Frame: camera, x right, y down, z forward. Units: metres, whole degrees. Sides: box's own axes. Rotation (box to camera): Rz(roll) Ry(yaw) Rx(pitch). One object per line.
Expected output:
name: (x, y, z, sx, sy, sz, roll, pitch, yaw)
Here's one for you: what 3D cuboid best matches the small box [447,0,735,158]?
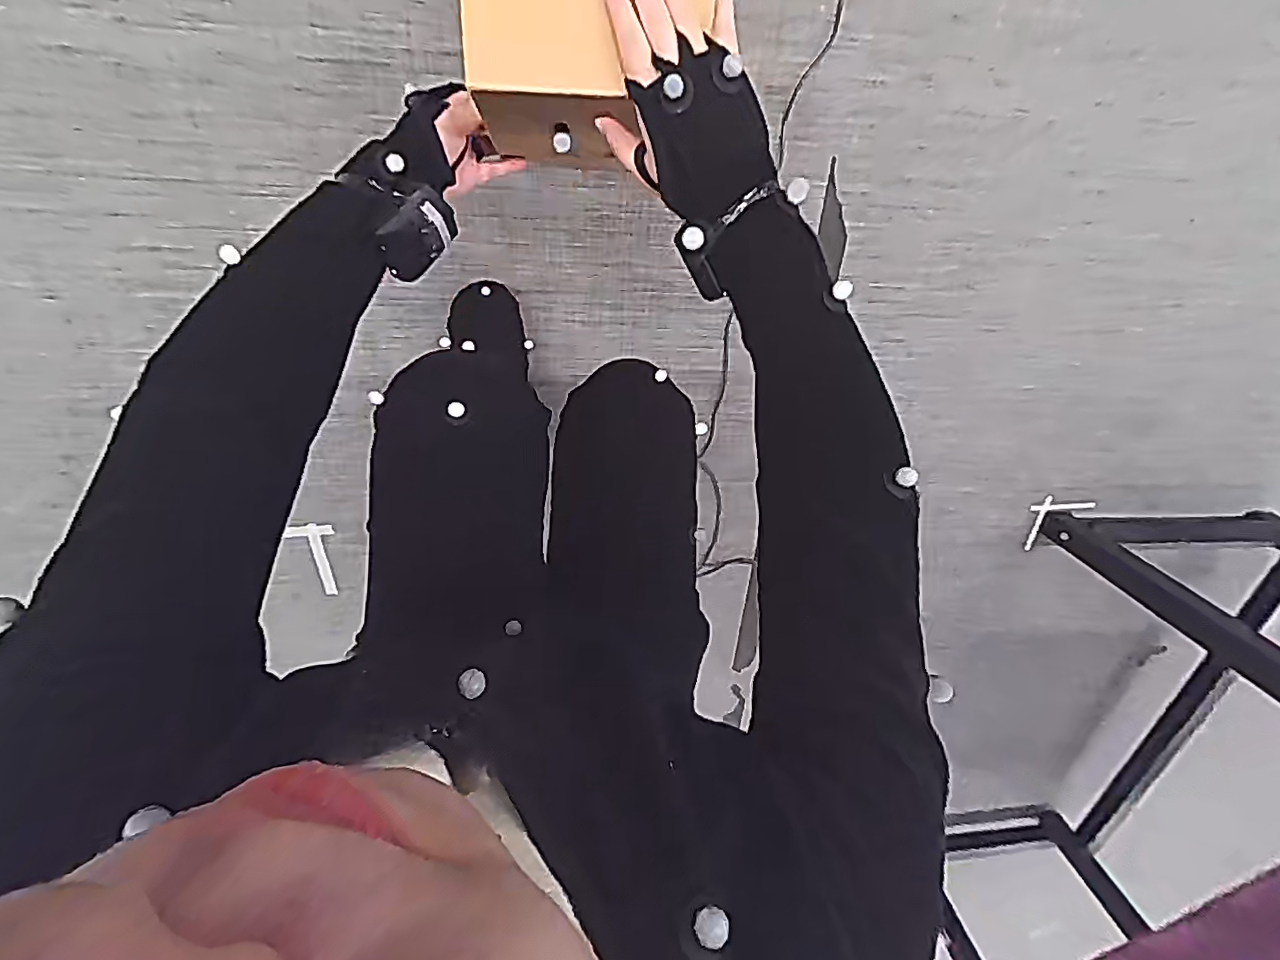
small box: (-0.030, -0.368, 0.376, 0.179, 0.176, 0.168, -3, 87, 13)
